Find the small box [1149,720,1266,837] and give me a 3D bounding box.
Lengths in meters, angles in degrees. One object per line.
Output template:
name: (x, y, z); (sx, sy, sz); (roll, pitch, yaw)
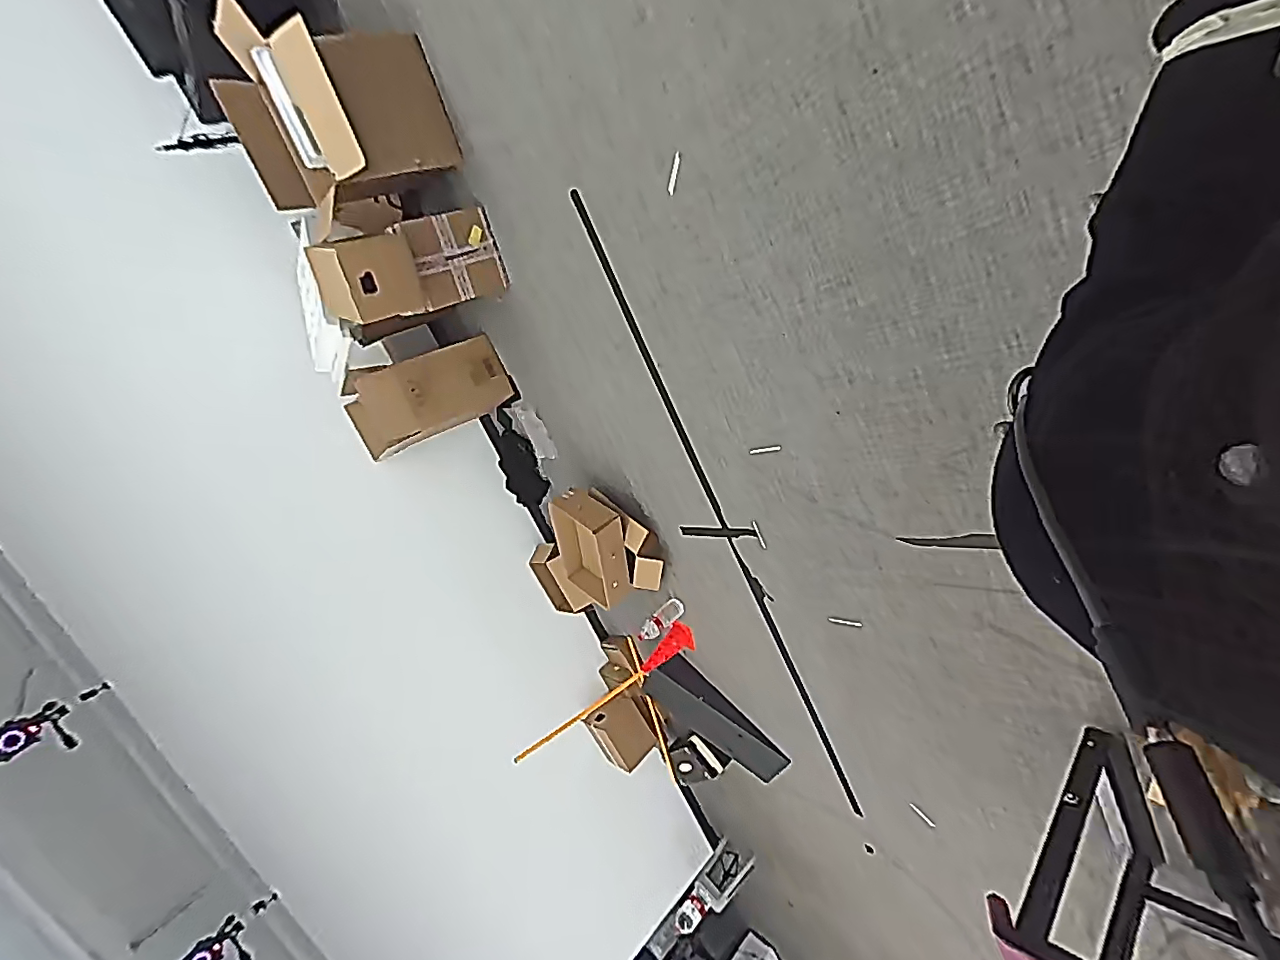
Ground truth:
small box: (1.463, 0.756, 1.396); (0.179, 0.176, 0.168); (15, 129, 45)
